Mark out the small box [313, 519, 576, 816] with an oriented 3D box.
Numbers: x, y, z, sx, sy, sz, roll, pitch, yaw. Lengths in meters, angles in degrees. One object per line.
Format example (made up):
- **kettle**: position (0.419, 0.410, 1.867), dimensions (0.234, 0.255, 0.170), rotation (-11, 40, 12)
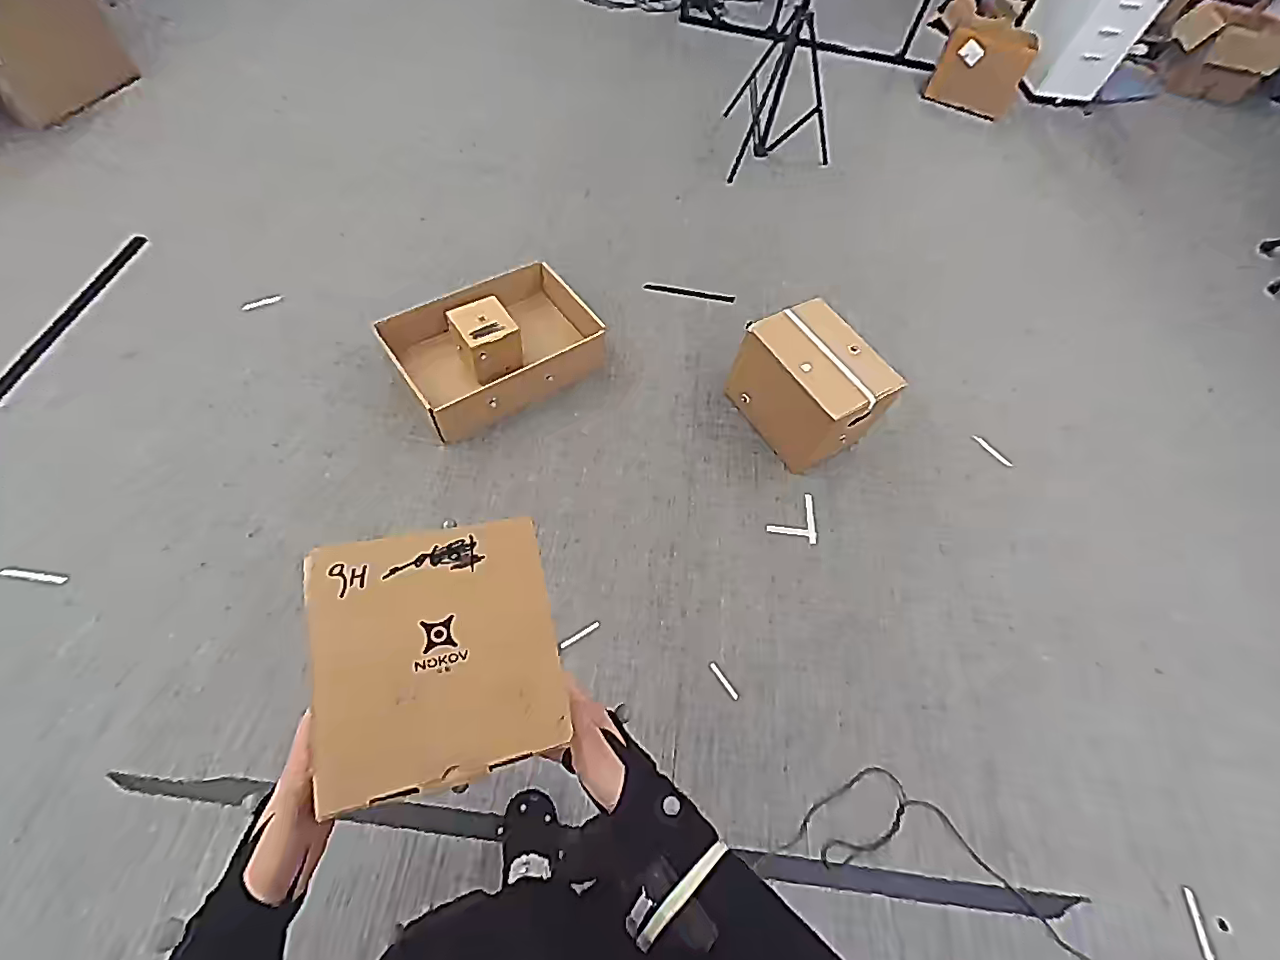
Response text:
- **small box**: position (-0.160, 0.149, 0.457), dimensions (0.168, 0.176, 0.179), rotation (-7, 70, -21)
